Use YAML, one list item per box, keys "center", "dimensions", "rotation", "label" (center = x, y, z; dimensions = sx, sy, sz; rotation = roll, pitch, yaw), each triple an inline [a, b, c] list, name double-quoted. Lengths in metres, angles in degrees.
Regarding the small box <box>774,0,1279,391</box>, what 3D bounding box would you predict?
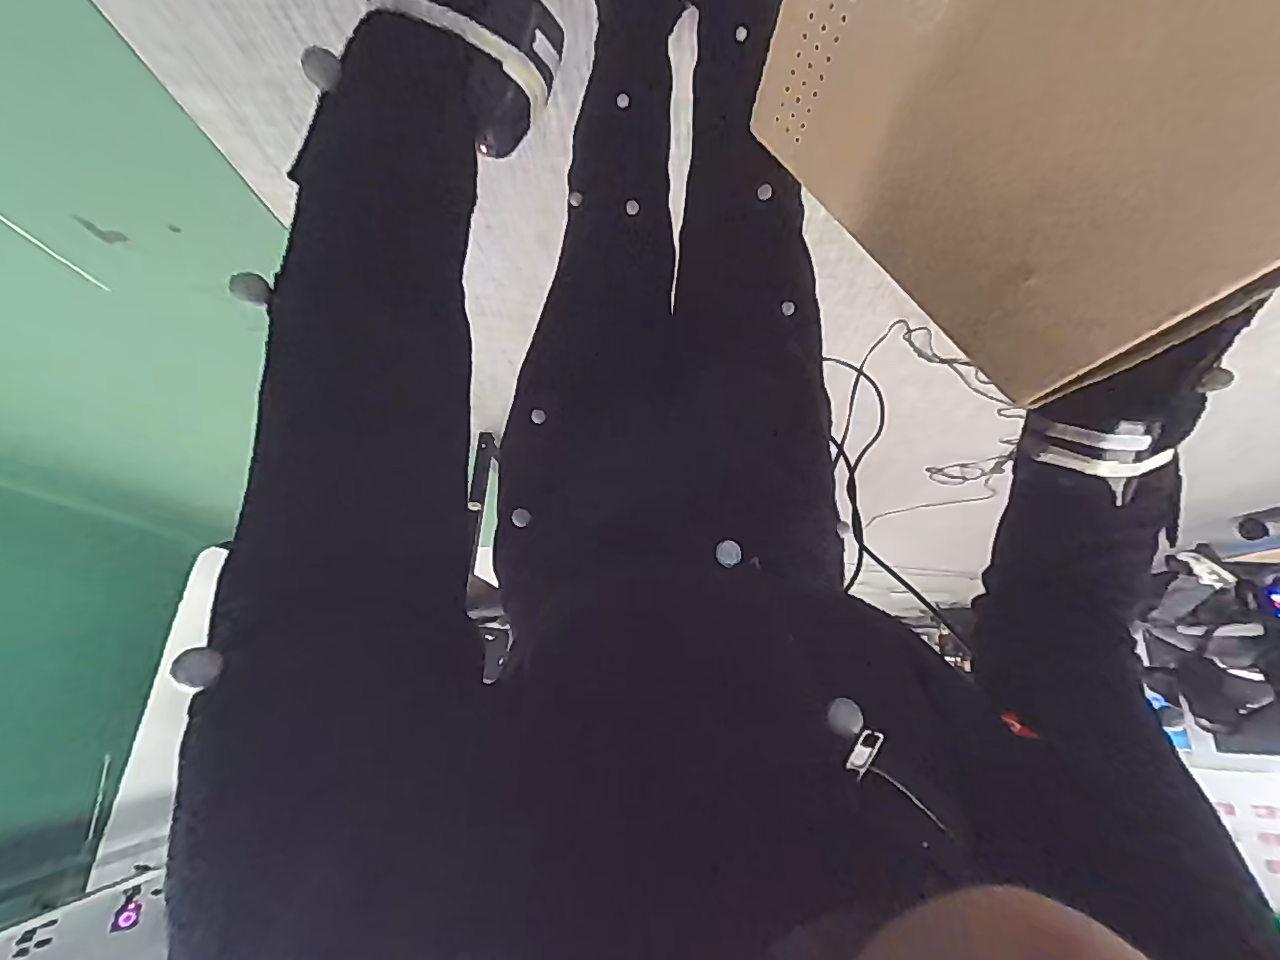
- center: [0.165, -0.163, 0.154]
  dimensions: [0.168, 0.176, 0.179]
  rotation: [-35, 169, -12]
  label: "small box"
